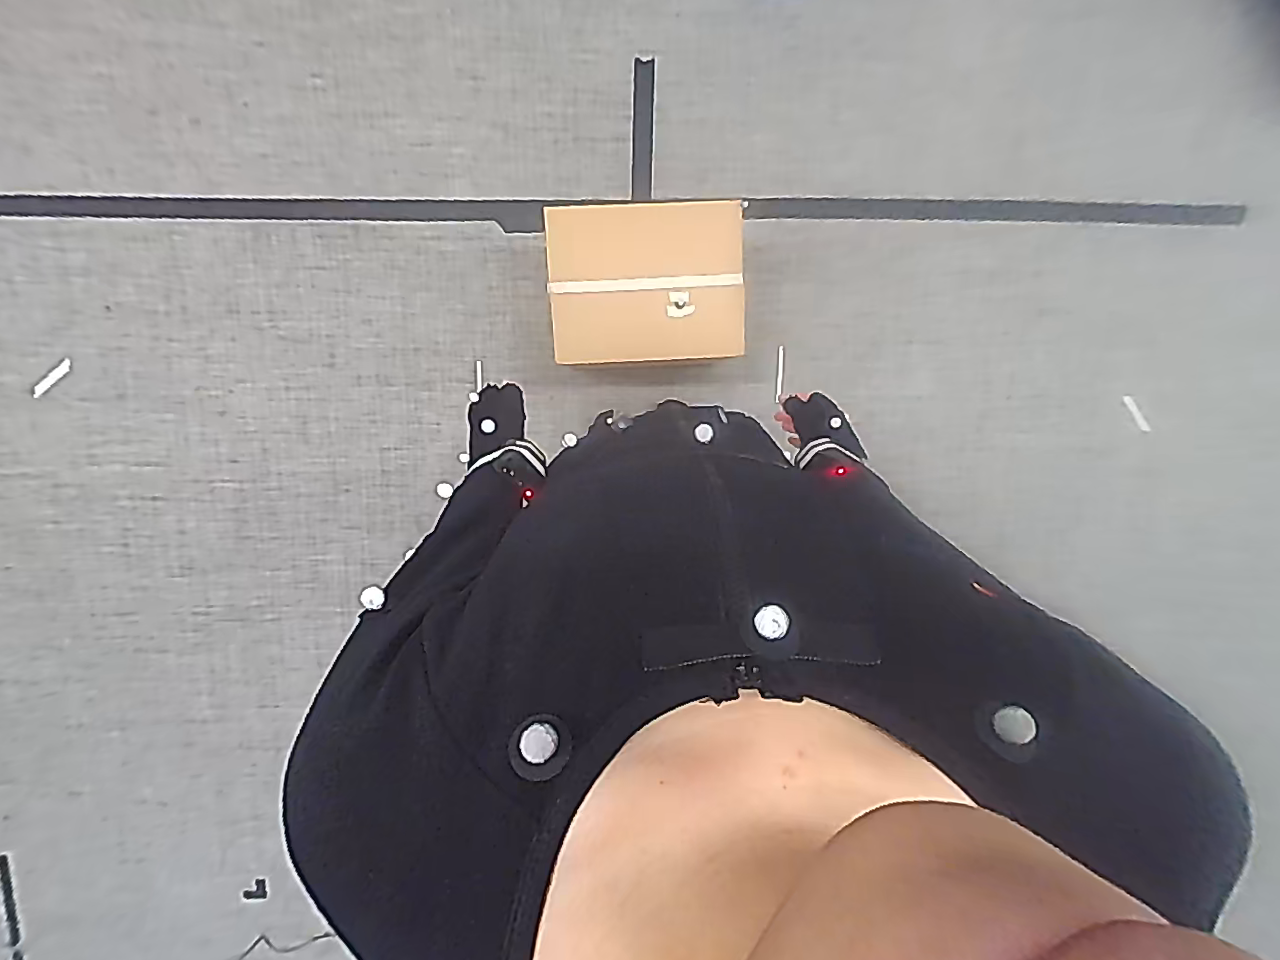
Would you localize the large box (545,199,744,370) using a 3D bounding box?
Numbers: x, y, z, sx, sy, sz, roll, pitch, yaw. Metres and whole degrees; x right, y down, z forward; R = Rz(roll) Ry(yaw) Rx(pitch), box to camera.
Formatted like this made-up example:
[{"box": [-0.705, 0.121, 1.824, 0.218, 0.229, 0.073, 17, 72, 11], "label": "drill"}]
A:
[{"box": [0.005, -0.433, 1.267, 0.408, 0.320, 0.320, -4, 100, -3], "label": "large box"}]
